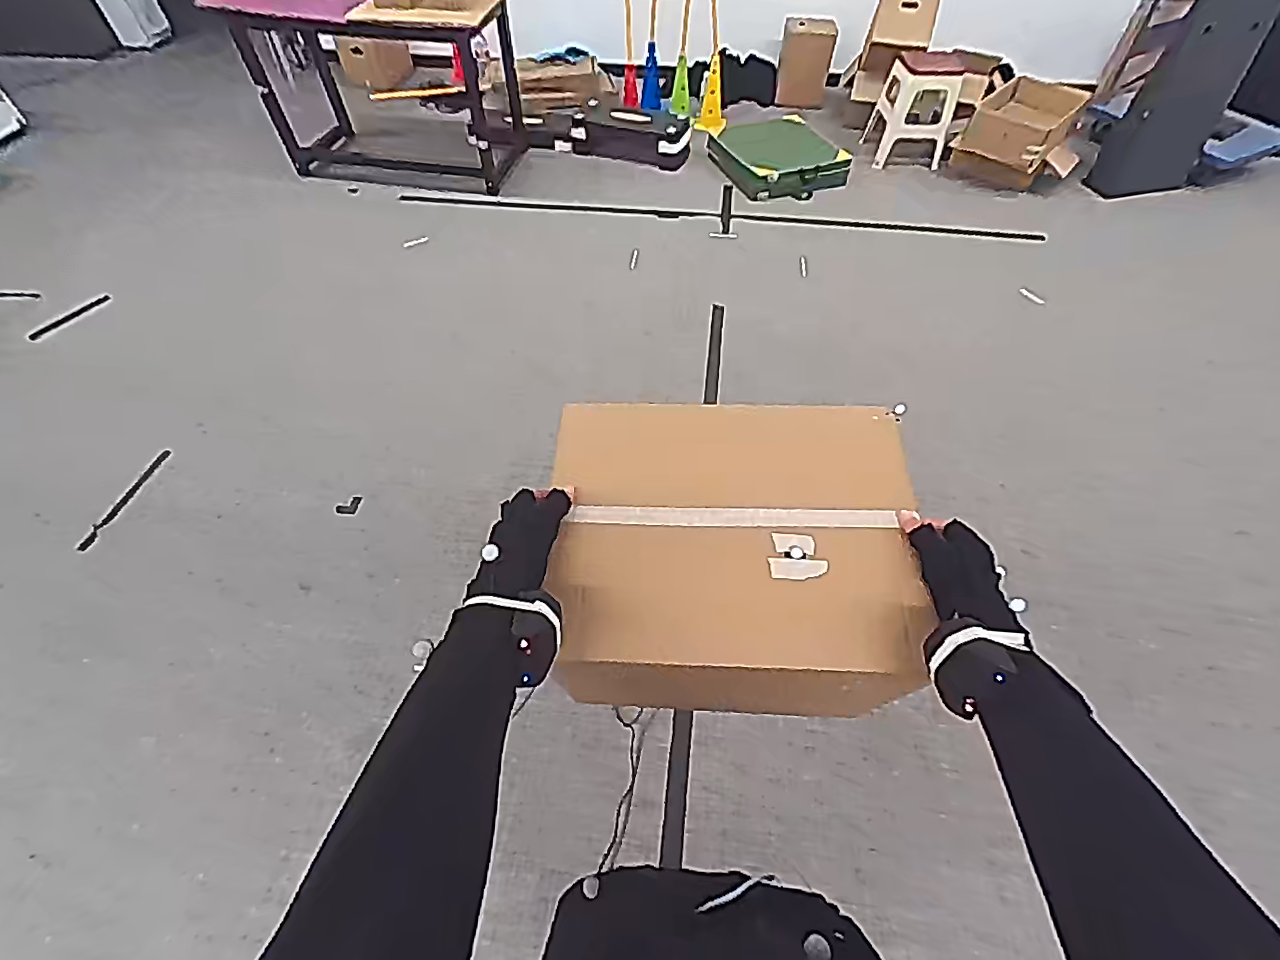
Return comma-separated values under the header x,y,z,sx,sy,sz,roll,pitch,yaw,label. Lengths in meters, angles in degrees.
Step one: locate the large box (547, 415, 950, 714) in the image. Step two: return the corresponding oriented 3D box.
x,y,z,sx,sy,sz,roll,pitch,yaw,label
0.114,0.126,0.732,0.408,0.320,0.320,1,60,4,large box
